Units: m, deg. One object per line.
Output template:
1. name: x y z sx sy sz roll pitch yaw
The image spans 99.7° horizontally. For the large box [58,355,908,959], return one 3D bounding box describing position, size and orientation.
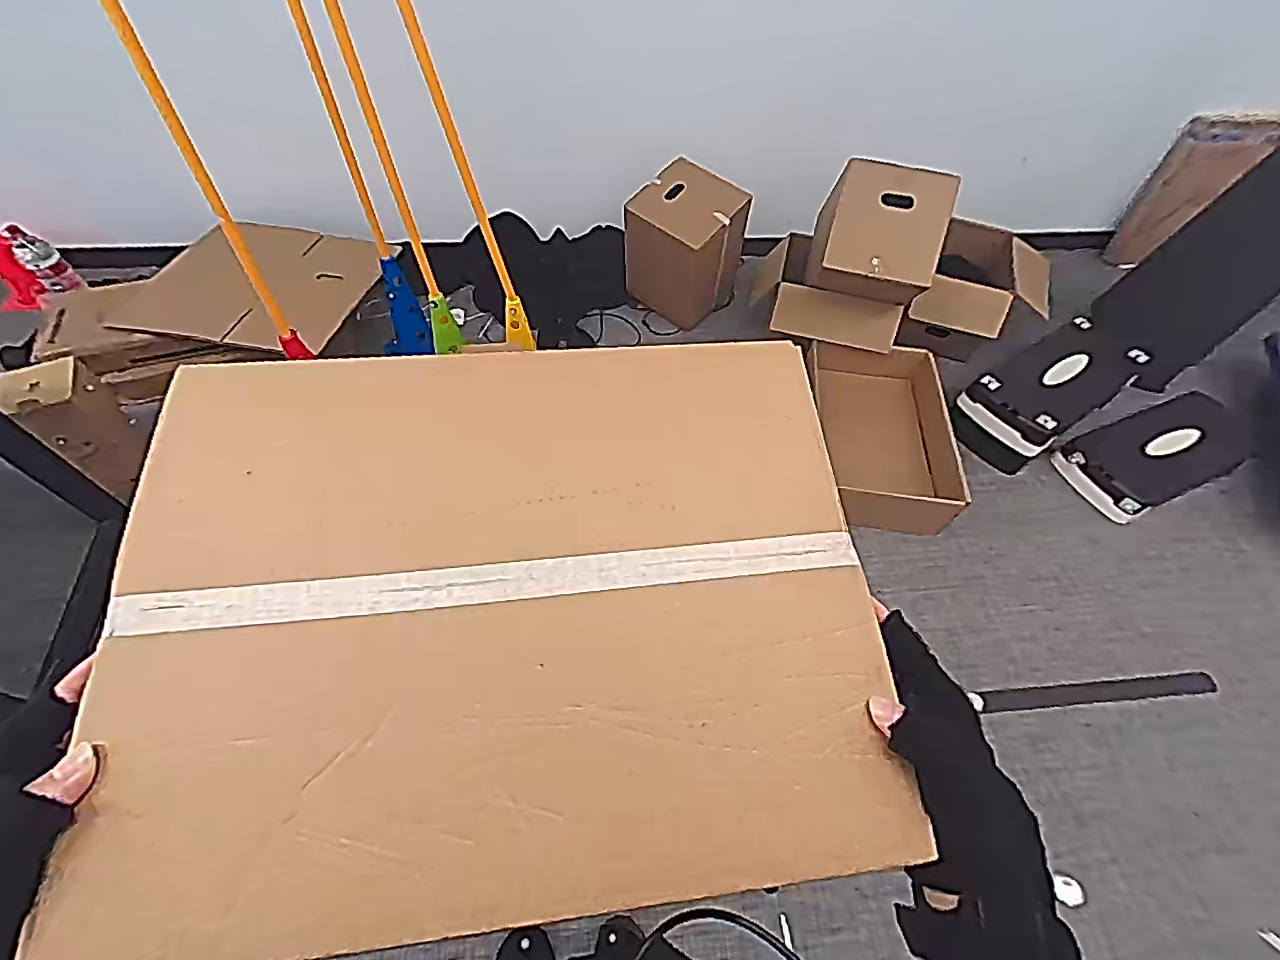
1. large box: -0.083 0.124 0.446 0.408 0.320 0.320 -4 66 -6
